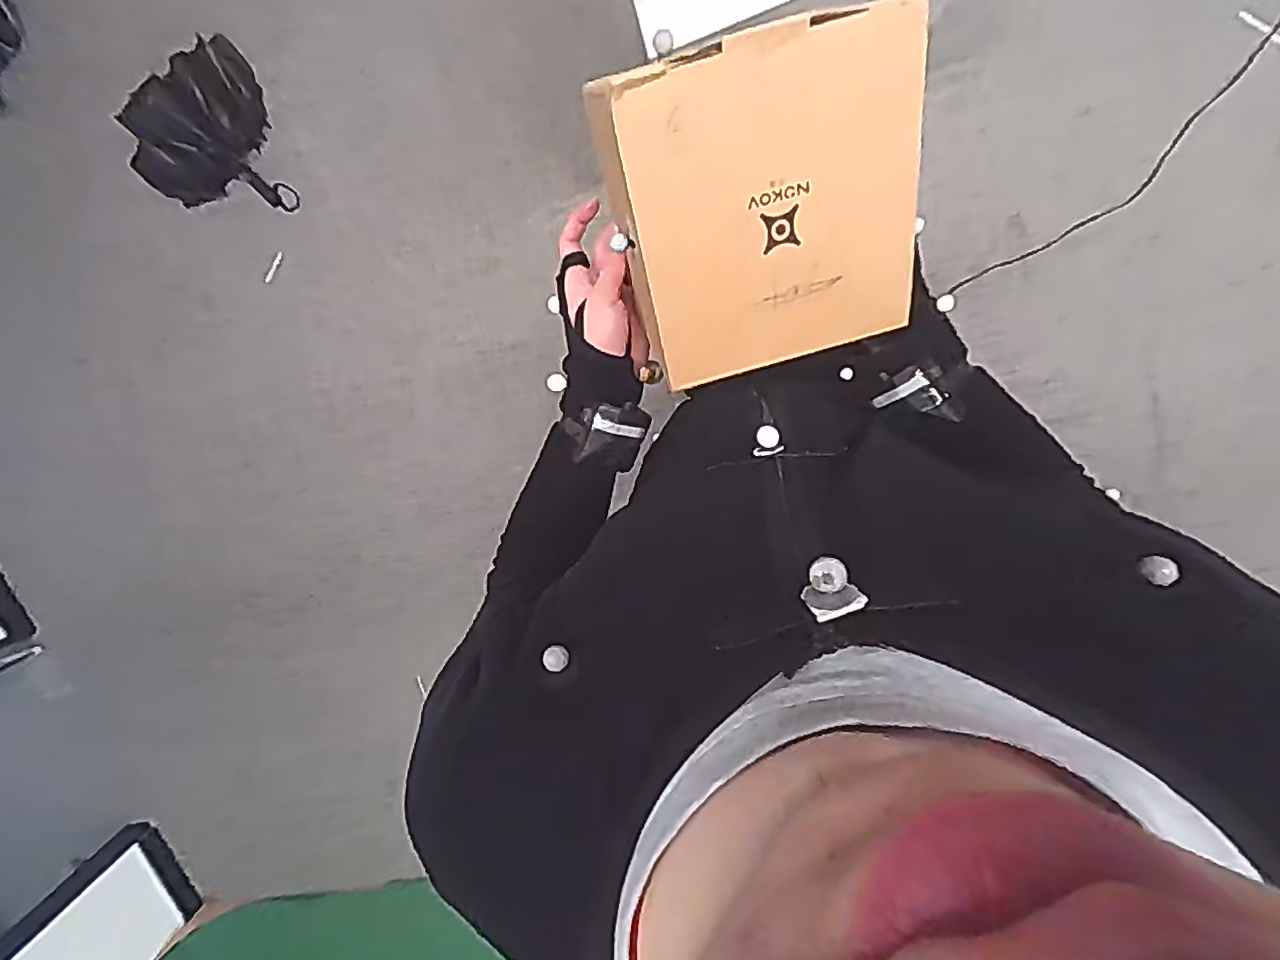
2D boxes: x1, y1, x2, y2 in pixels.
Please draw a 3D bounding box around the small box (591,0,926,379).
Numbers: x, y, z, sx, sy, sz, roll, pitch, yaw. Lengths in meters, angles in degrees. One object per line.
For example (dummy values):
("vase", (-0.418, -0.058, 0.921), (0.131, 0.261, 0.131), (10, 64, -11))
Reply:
("small box", (0.068, -0.201, 0.376), (0.168, 0.176, 0.179), (-15, 127, 2))
